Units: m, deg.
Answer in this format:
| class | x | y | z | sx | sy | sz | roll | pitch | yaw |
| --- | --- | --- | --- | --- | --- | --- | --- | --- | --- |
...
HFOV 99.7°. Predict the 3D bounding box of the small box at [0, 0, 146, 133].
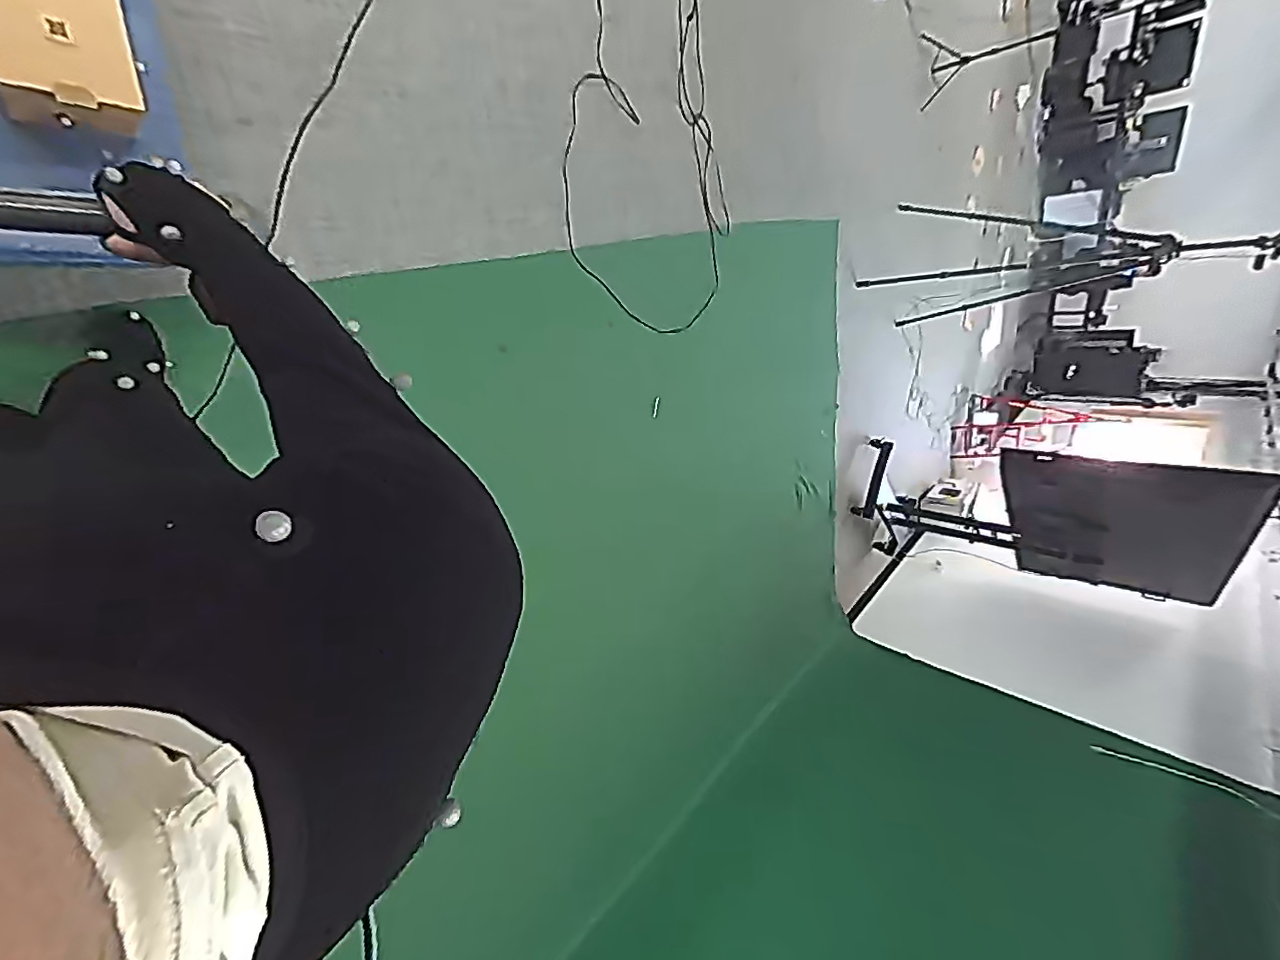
| class | x | y | z | sx | sy | sz | roll | pitch | yaw |
| --- | --- | --- | --- | --- | --- | --- | --- | --- | --- |
| small box | -0.926 | -0.686 | 0.861 | 0.168 | 0.176 | 0.179 | -18 | 114 | -43 |
